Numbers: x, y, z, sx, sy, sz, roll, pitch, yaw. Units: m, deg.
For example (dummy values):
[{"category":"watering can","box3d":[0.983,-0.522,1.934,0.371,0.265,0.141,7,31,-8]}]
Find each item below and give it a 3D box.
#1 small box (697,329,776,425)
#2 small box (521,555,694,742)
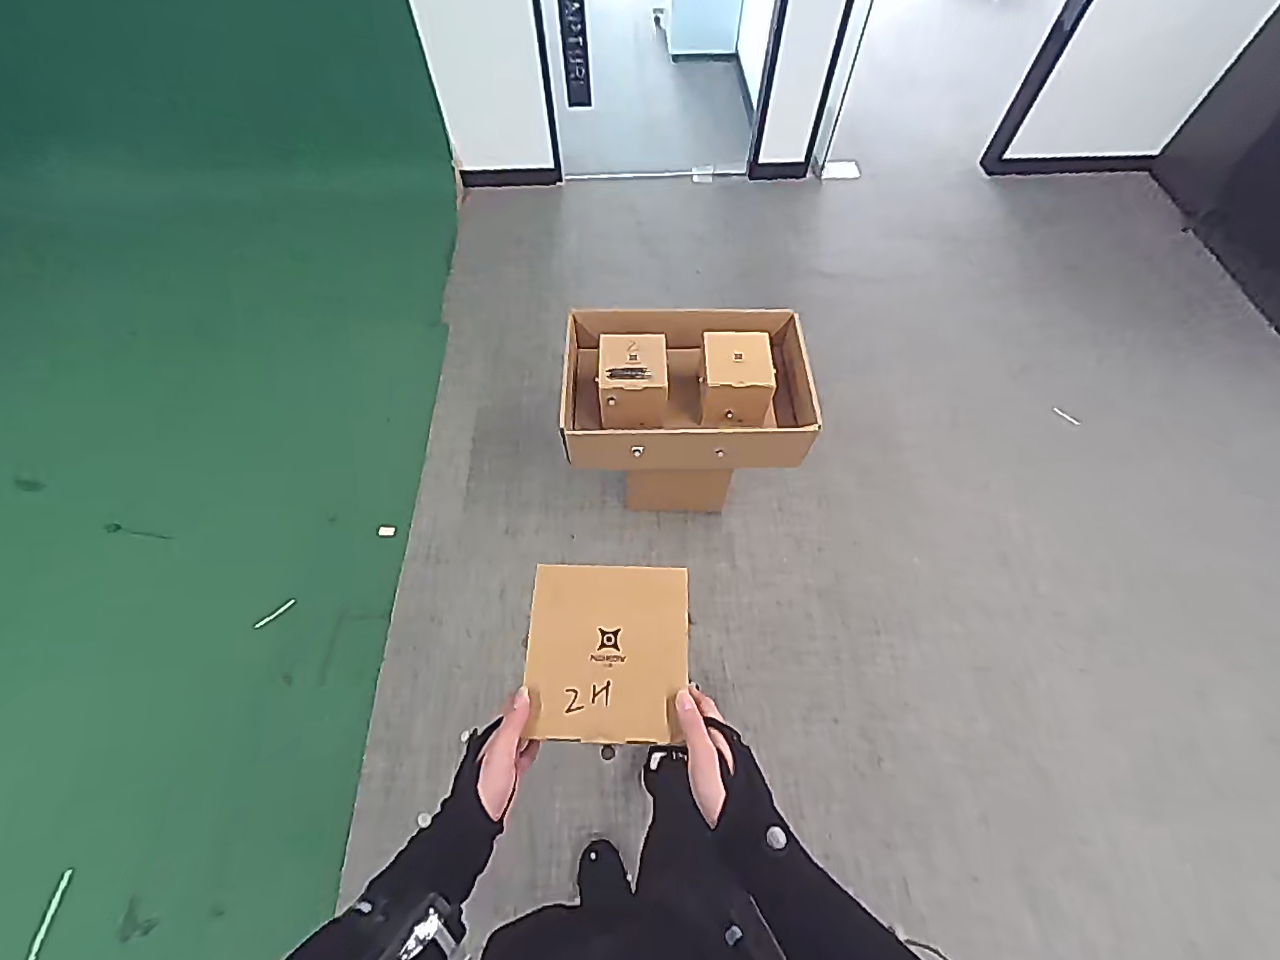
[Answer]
[{"category":"small box","box3d":[0.238,-0.262,1.387,0.168,0.176,0.179,1,61,-1]},{"category":"small box","box3d":[-0.029,0.198,0.618,0.168,0.176,0.179,2,64,1]}]
